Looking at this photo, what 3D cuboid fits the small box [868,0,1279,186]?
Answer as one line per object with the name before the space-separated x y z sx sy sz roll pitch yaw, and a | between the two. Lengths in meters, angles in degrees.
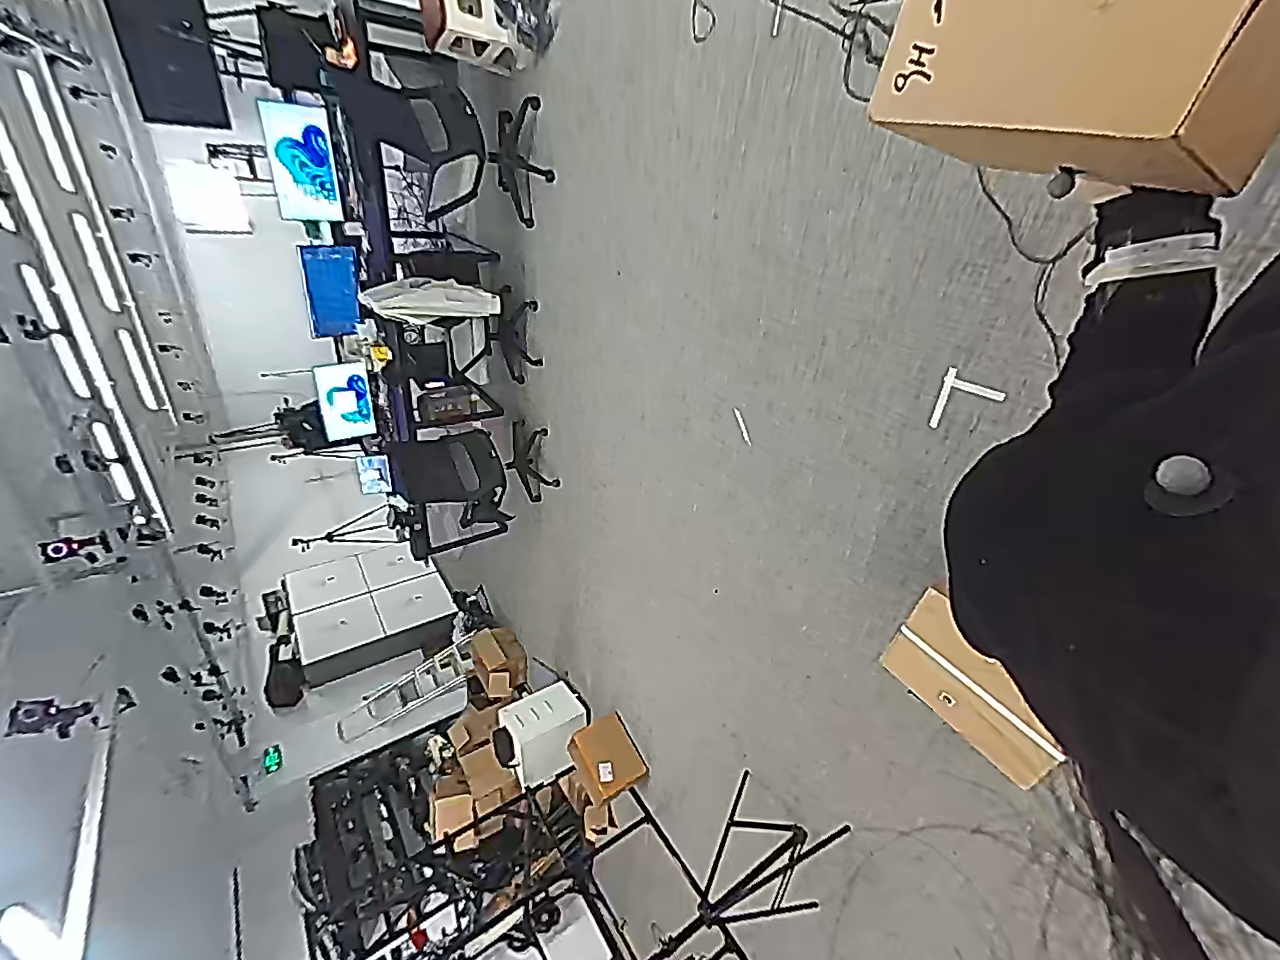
small box | 0.280 -0.280 0.311 0.179 0.176 0.168 41 130 41
